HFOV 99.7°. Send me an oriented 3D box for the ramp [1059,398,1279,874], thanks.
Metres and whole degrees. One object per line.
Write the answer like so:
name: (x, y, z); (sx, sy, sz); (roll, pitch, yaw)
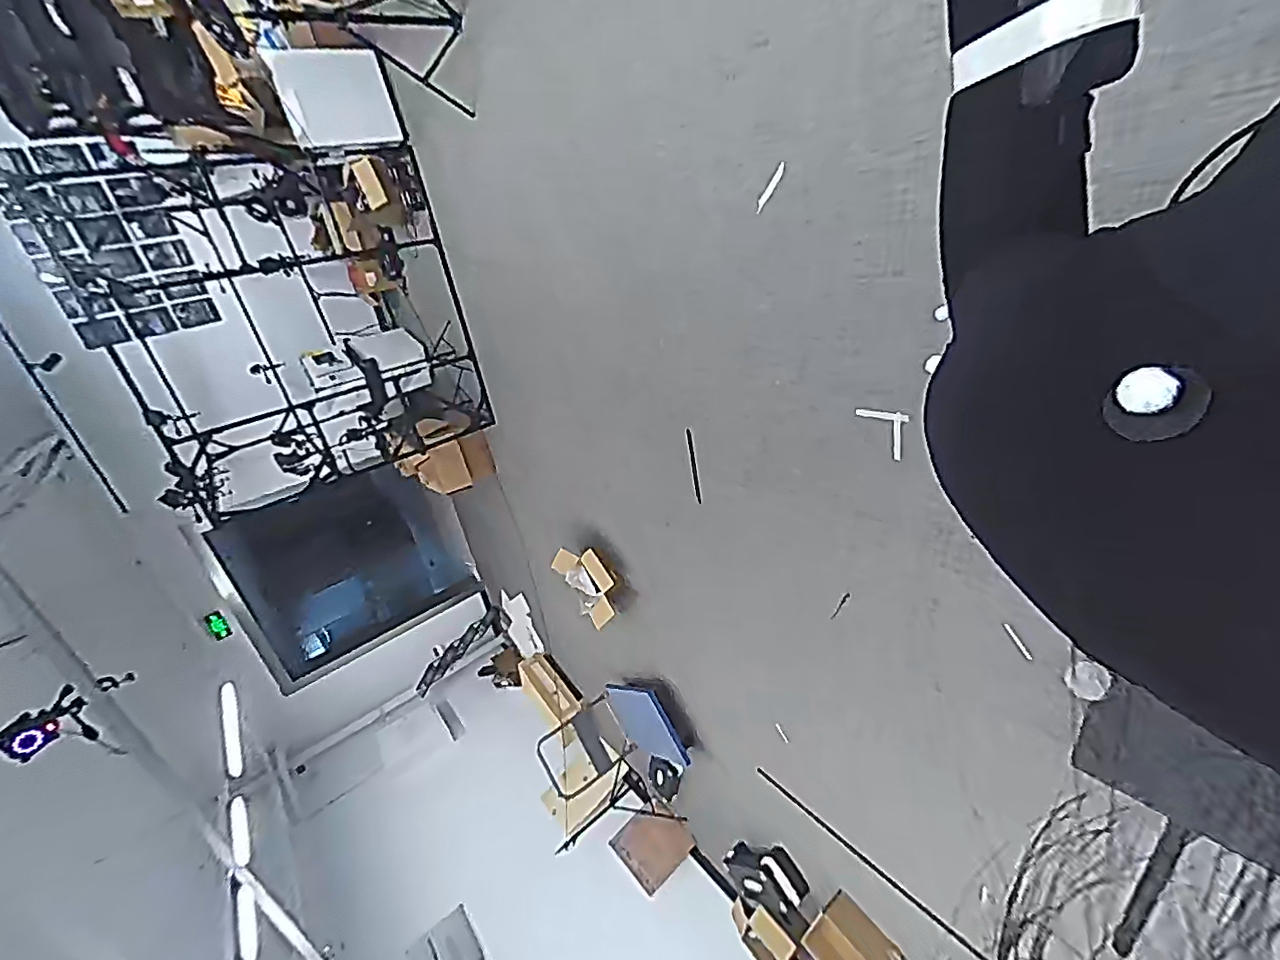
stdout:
ramp: (1.286, 0.349, 1.136); (0.509, 0.206, 0.991); (21, 129, 49)
